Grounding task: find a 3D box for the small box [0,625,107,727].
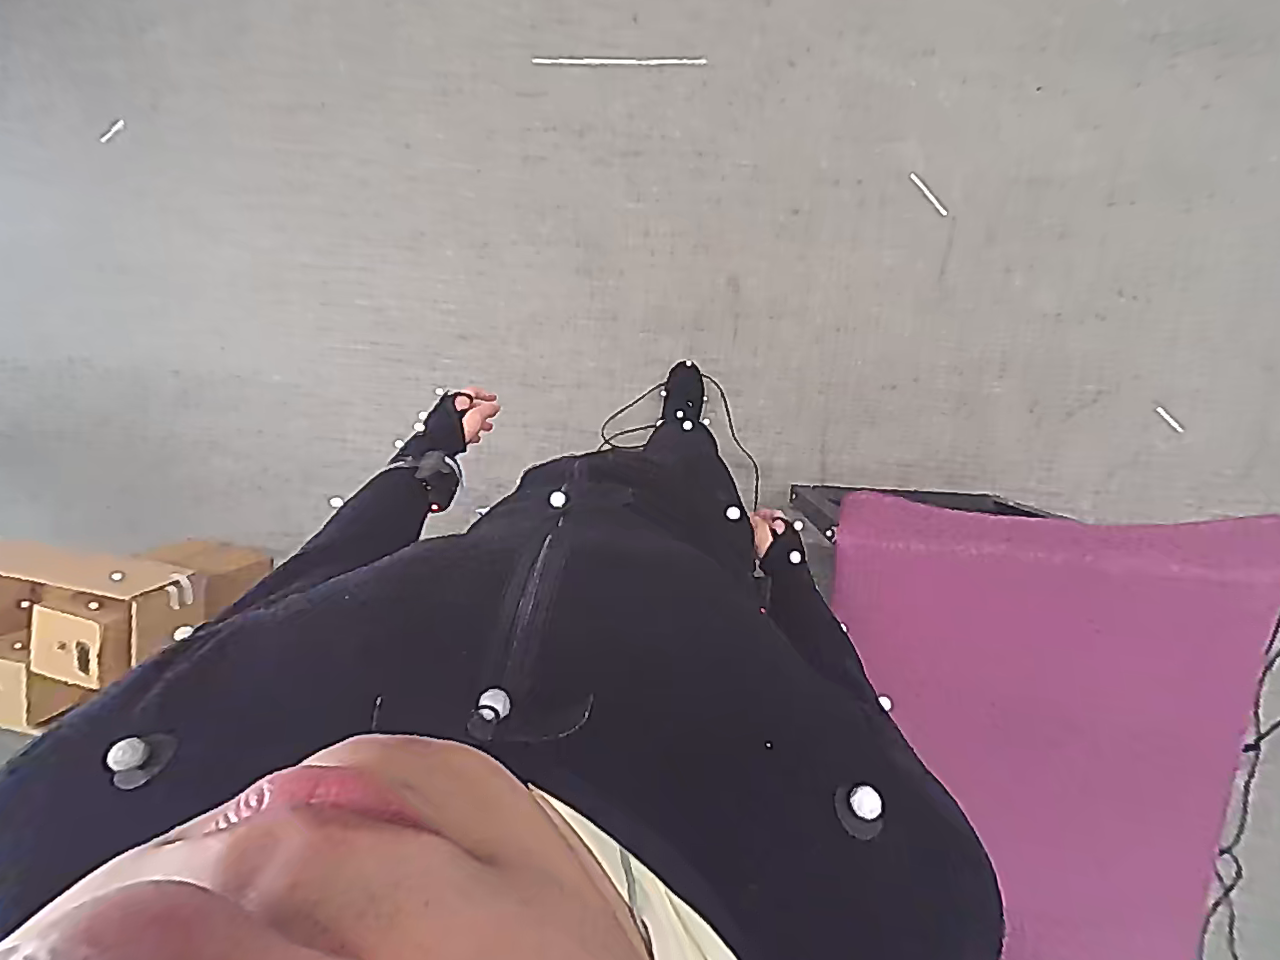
[{"bbox_3d":[-1.485,0.477,1.342,0.179,0.176,0.168,10,98,4],"label":"small box"}]
